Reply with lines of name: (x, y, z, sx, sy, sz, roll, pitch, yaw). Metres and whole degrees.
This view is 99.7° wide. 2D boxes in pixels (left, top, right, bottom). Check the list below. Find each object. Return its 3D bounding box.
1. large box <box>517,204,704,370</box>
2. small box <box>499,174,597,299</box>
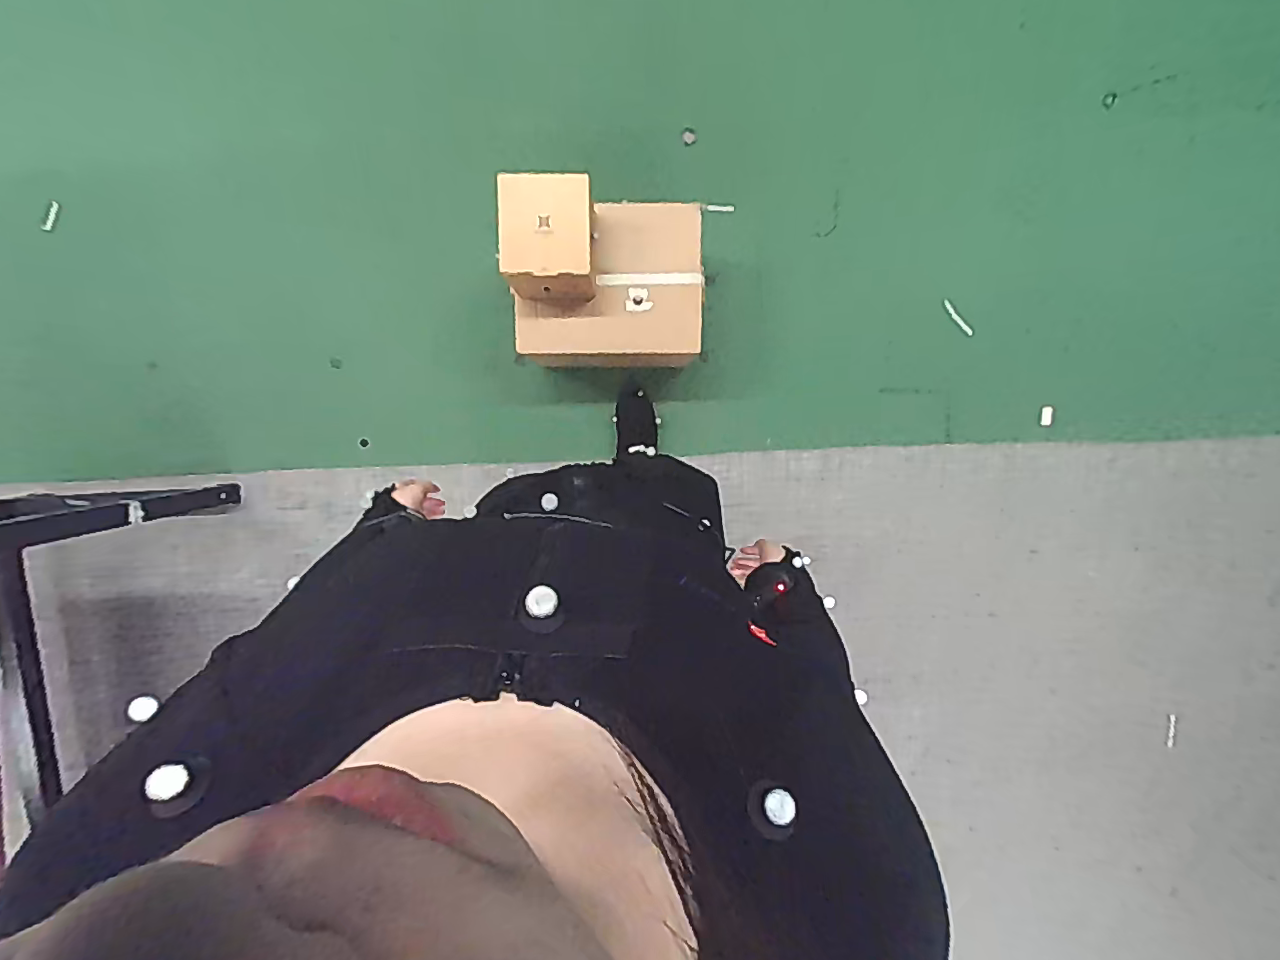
large box: (-0.068, -0.438, 1.292, 0.408, 0.320, 0.320, -1, 97, -1)
small box: (-0.172, -0.461, 1.044, 0.168, 0.176, 0.179, 0, 96, -1)
